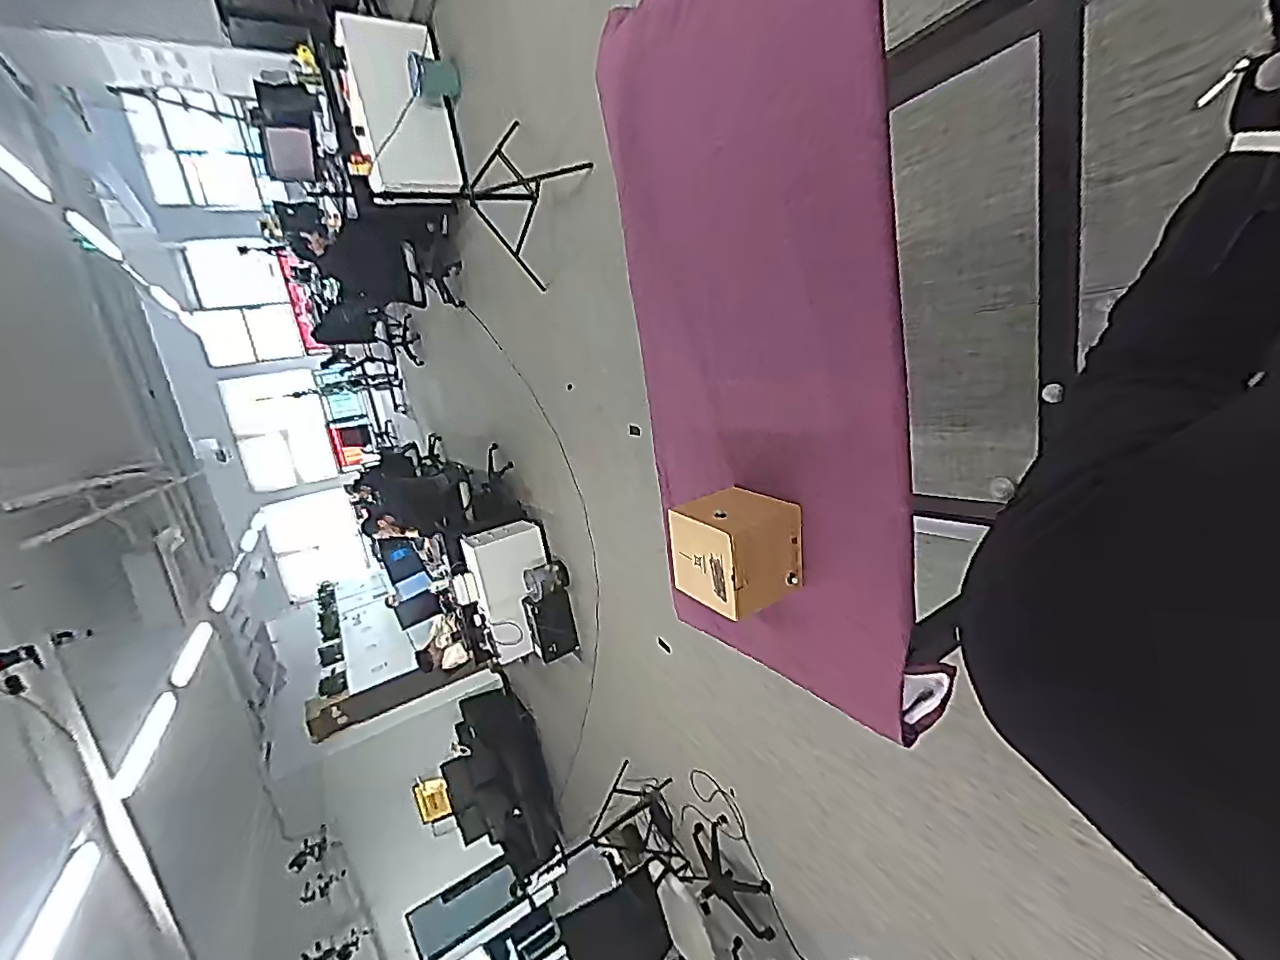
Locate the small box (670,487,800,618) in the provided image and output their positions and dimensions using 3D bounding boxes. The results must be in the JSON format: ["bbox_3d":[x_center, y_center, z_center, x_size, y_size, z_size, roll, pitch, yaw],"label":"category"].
[{"bbox_3d":[0.179,0.121,0.997,0.179,0.176,0.168,20,121,55],"label":"small box"}]
